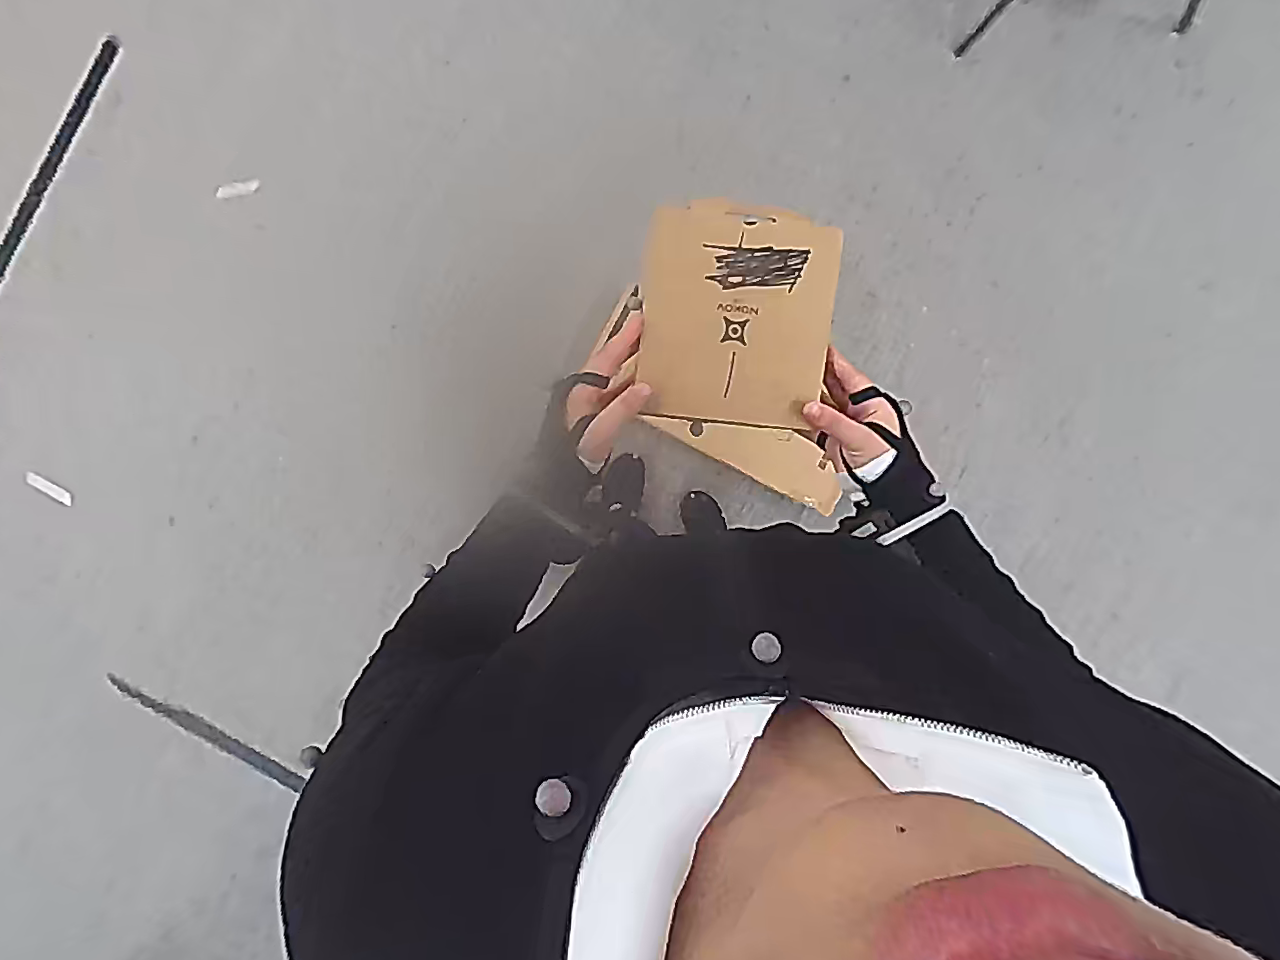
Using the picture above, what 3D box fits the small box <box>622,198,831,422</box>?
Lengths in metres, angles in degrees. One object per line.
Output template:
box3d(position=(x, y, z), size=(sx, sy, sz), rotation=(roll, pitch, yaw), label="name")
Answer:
box3d(position=(0.071, -0.154, 0.546), size=(0.168, 0.176, 0.179), rotation=(5, 97, -3), label="small box")
